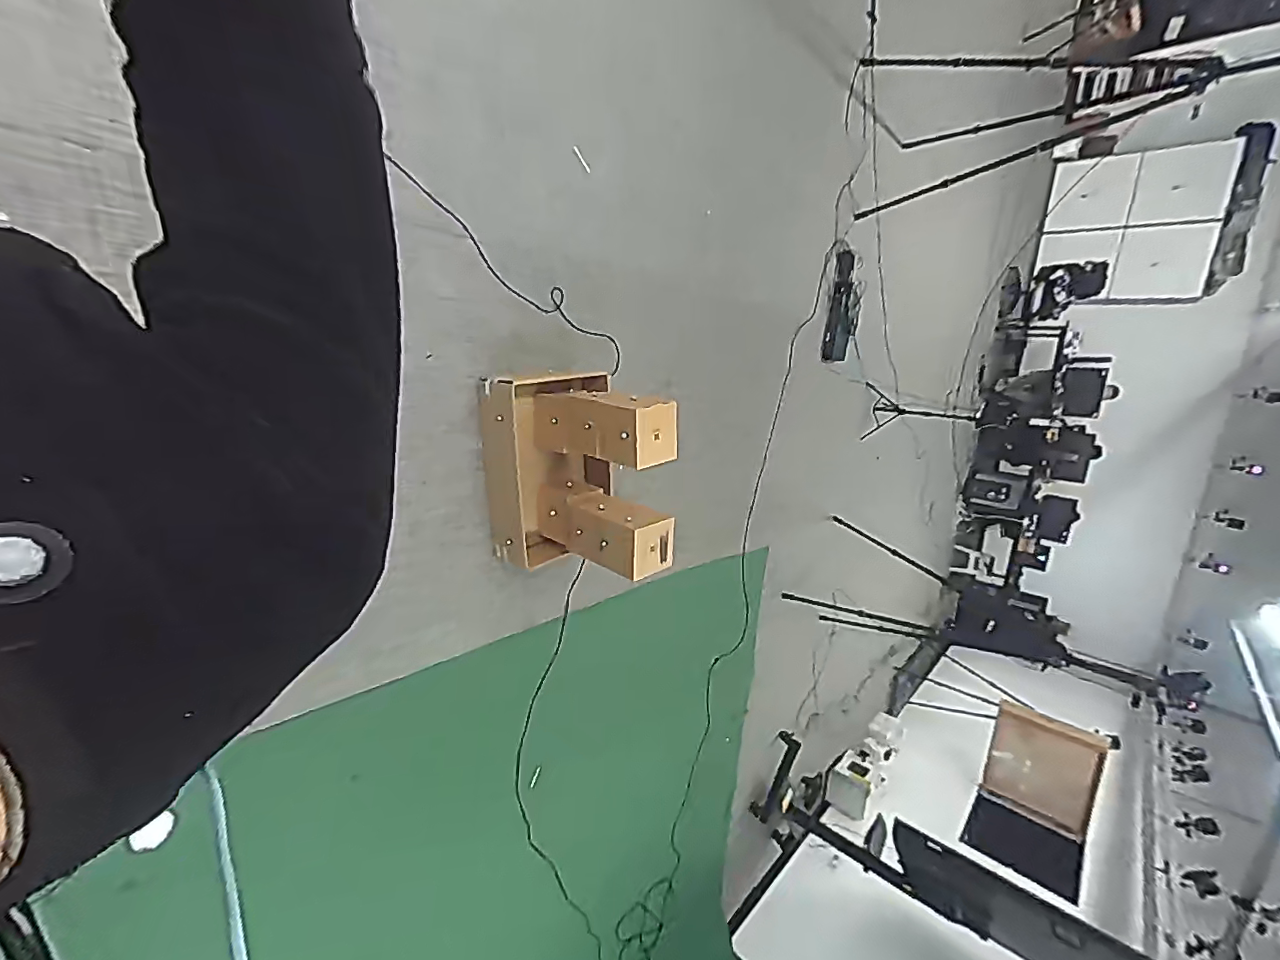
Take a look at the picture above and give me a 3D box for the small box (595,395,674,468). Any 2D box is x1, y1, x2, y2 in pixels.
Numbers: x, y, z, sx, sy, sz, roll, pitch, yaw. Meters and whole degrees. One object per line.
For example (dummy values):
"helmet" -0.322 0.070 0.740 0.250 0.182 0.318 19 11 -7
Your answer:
"small box" -0.018 -0.149 1.591 0.168 0.176 0.179 -18 114 -42

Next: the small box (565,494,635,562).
"small box" -0.136 0.154 1.795 0.179 0.176 0.168 -14 112 -46

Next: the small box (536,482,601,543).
"small box" -0.254 0.108 1.901 0.168 0.176 0.179 -13 110 -45

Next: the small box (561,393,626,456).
"small box" -0.135 -0.181 1.699 0.168 0.176 0.179 -12 111 -44
